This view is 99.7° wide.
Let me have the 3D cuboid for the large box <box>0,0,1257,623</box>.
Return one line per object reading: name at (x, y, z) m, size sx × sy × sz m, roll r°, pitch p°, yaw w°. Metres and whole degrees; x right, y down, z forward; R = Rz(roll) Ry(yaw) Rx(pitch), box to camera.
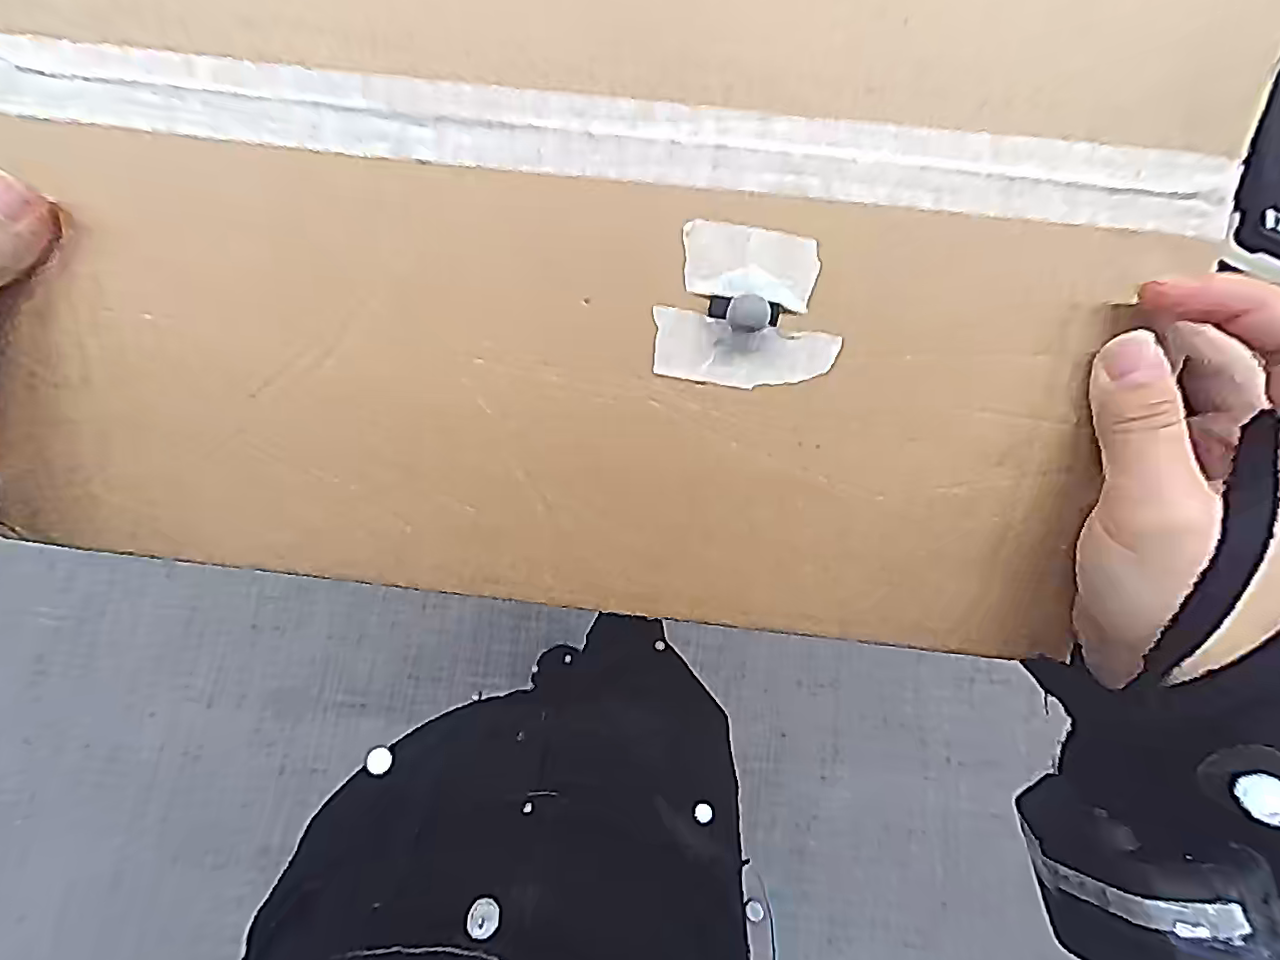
large box at (-0.019, -0.143, 0.322) m, size 0.408 × 0.320 × 0.320 m, roll 6°, pitch 105°, yaw 0°
